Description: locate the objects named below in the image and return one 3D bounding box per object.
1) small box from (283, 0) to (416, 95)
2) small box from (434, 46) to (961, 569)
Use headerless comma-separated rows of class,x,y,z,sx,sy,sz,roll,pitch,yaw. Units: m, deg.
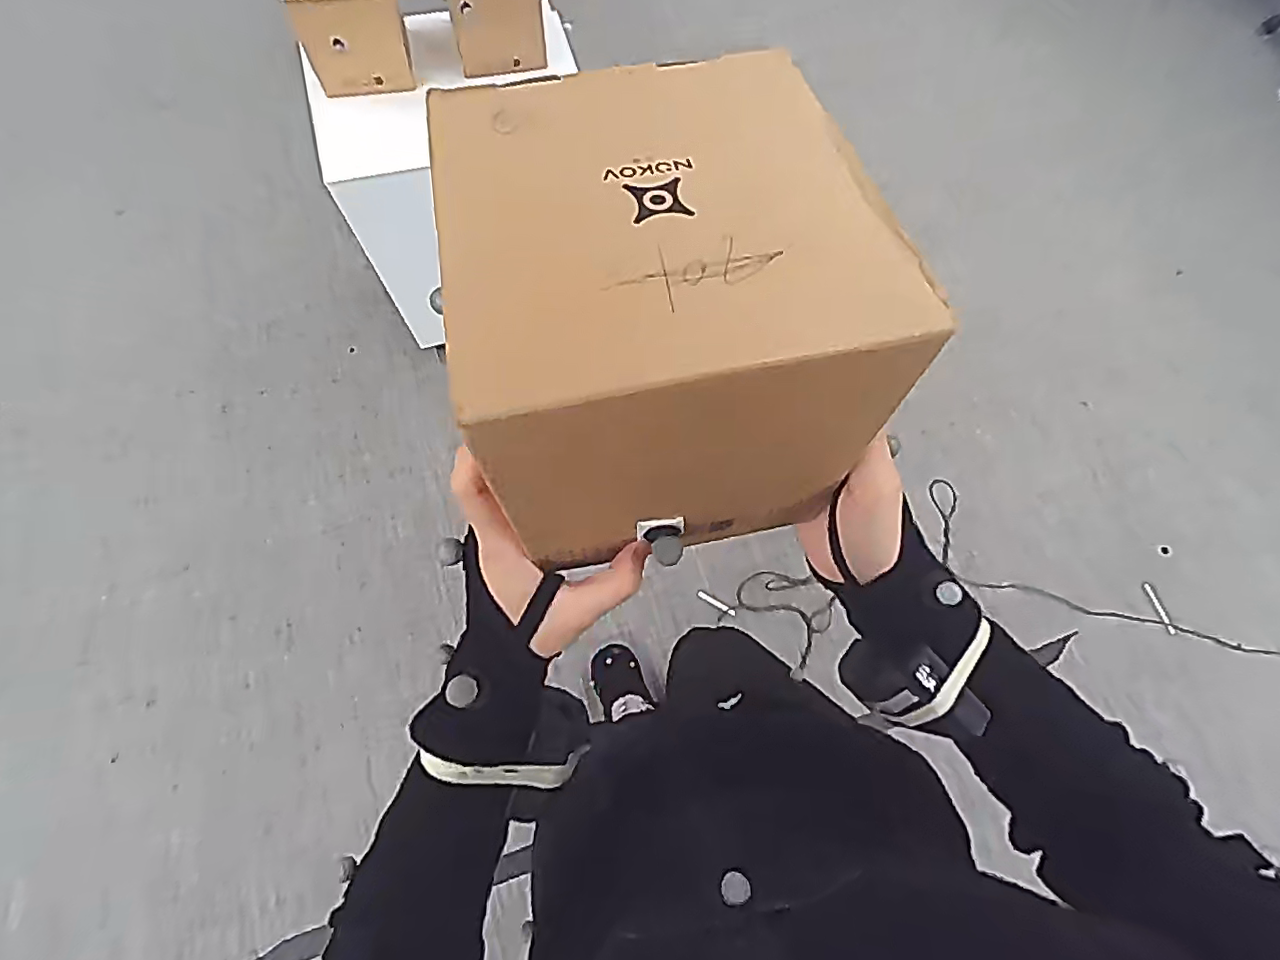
small box,-0.520,-0.834,0.978,0.168,0.176,0.179,-12,74,-8
small box,0.007,-0.074,0.275,0.168,0.176,0.179,-12,65,-6
